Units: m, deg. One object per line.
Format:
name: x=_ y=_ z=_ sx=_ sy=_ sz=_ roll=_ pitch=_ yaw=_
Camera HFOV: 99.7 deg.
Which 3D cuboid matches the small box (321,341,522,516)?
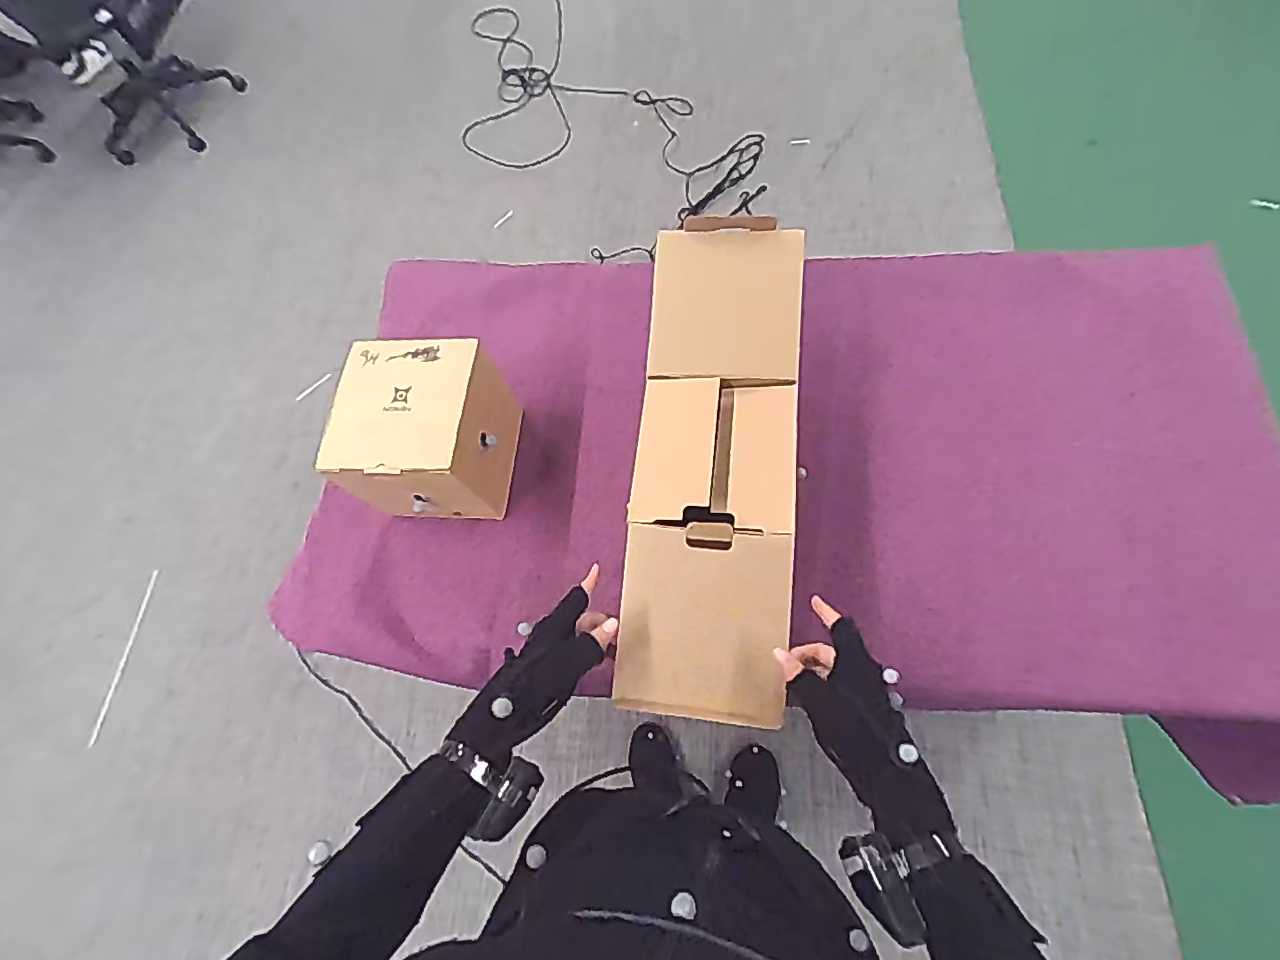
small box: x=-0.264 y=-0.057 z=0.700 sx=0.168 sy=0.176 sz=0.179 roll=1 pitch=69 yaw=8
